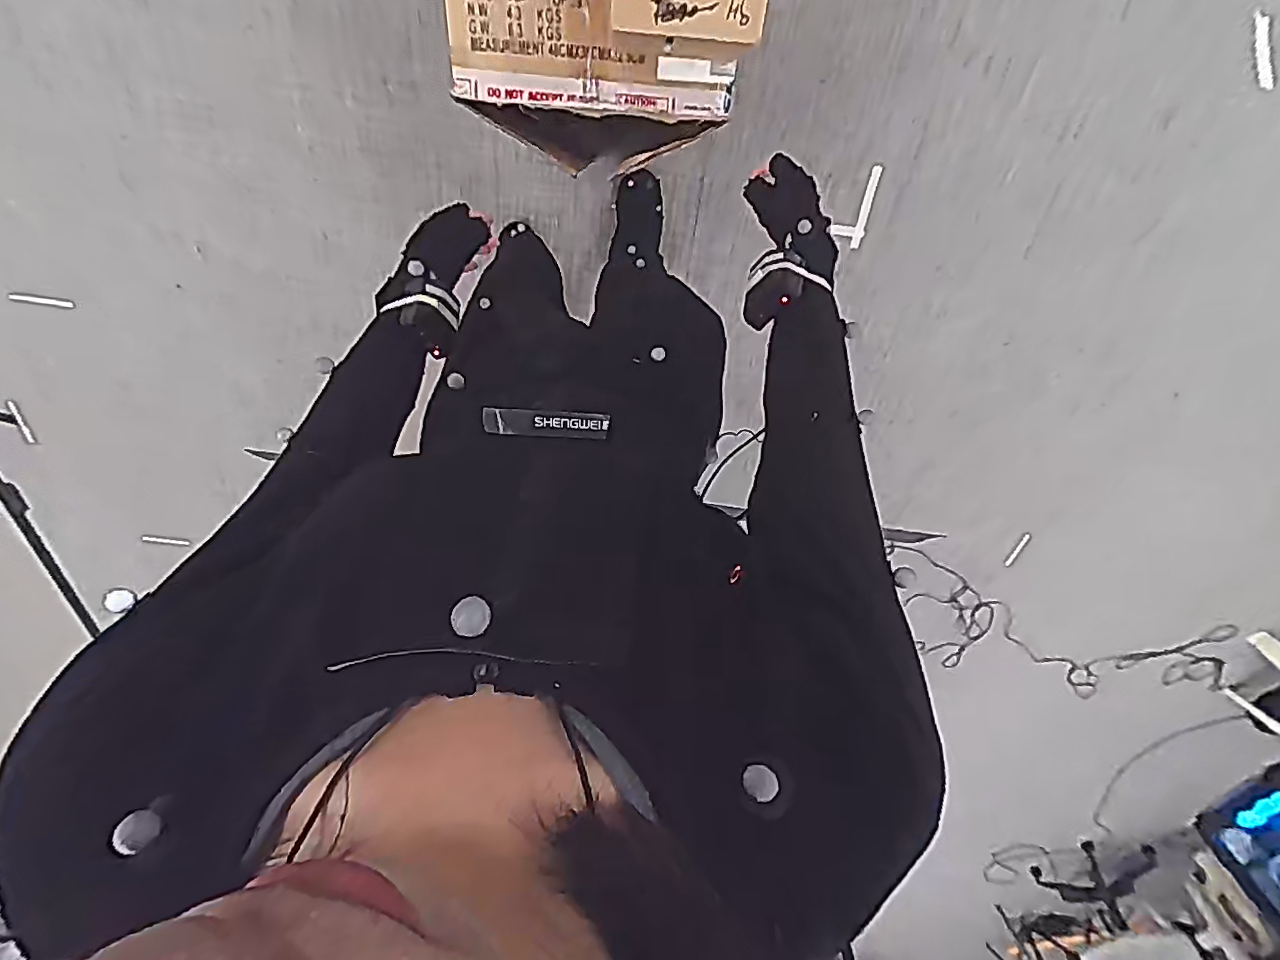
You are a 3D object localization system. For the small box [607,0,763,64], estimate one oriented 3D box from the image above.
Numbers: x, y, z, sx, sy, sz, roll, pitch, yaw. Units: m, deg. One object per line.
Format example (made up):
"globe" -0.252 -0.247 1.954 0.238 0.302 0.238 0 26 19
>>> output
"small box" 0.049 -0.591 0.602 0.168 0.176 0.179 3 122 -4
